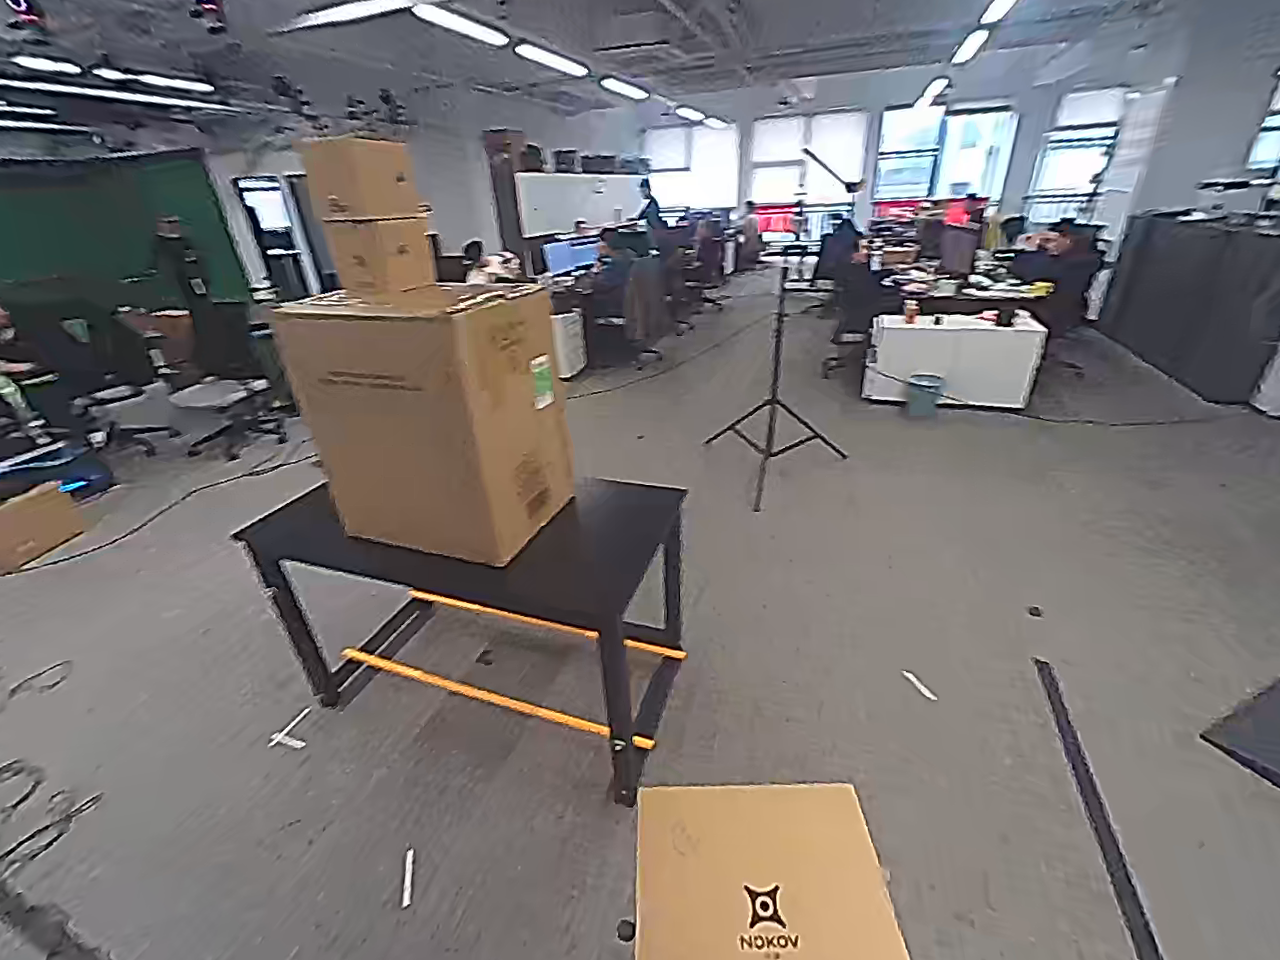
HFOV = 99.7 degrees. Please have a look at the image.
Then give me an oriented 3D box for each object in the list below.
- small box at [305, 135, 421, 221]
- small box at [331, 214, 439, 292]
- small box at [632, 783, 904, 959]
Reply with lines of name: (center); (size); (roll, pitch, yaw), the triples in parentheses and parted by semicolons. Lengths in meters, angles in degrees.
small box: (-0.657, -0.724, 1.308); (0.168, 0.176, 0.179); (9, 30, 21)
small box: (-0.649, -0.587, 1.399); (0.168, 0.176, 0.179); (9, 30, 19)
small box: (0.080, 0.347, 0.381); (0.168, 0.176, 0.179); (-3, 31, 2)
